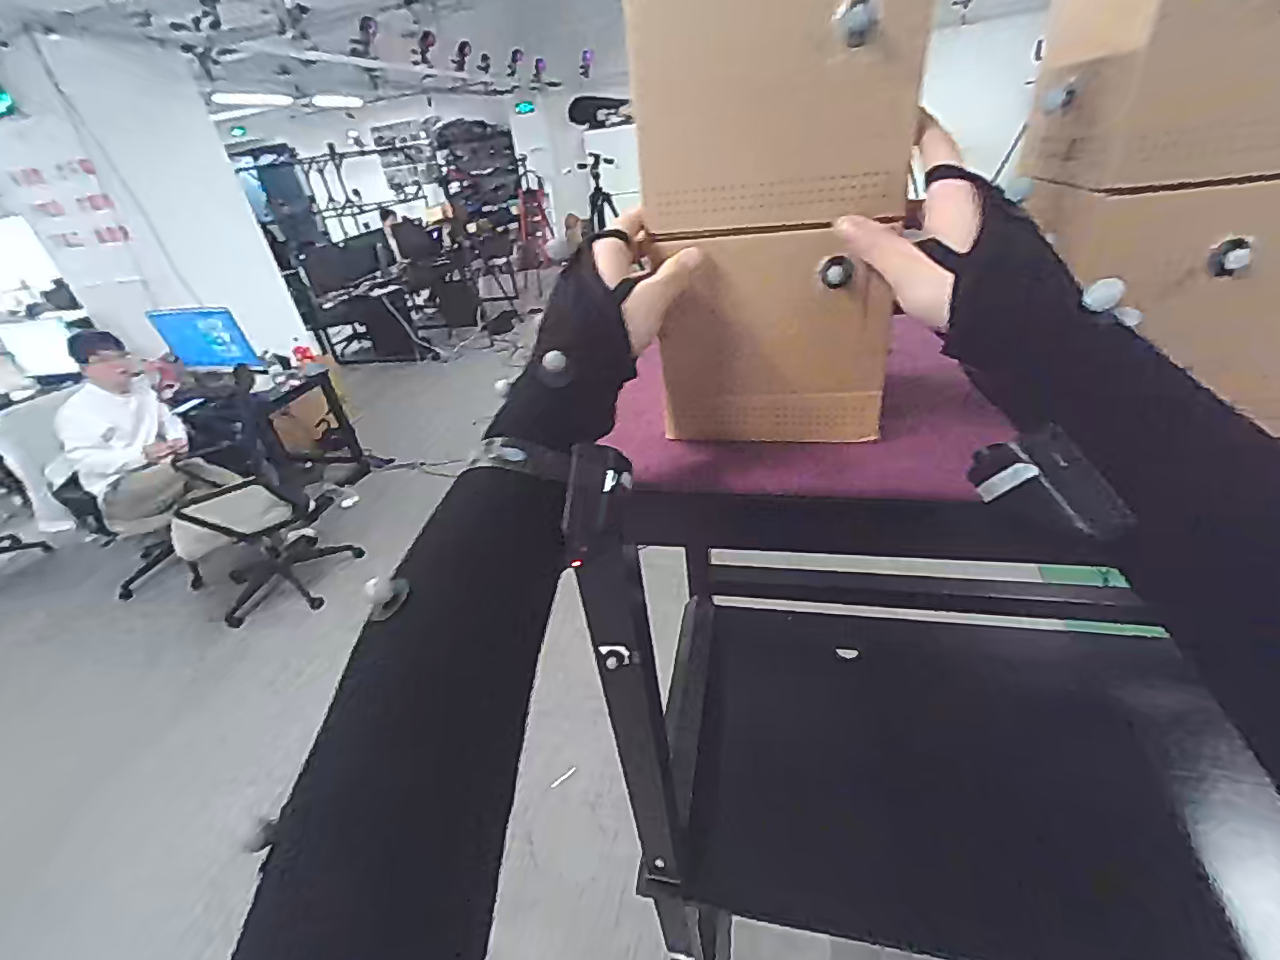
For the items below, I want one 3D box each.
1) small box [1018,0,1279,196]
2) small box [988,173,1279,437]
[{"bbox_3d":[0.364,-0.279,0.323,0.179,0.176,0.168,1,32,17],"label":"small box"},{"bbox_3d":[0.386,-0.141,0.409,0.179,0.176,0.168,2,33,17],"label":"small box"}]
